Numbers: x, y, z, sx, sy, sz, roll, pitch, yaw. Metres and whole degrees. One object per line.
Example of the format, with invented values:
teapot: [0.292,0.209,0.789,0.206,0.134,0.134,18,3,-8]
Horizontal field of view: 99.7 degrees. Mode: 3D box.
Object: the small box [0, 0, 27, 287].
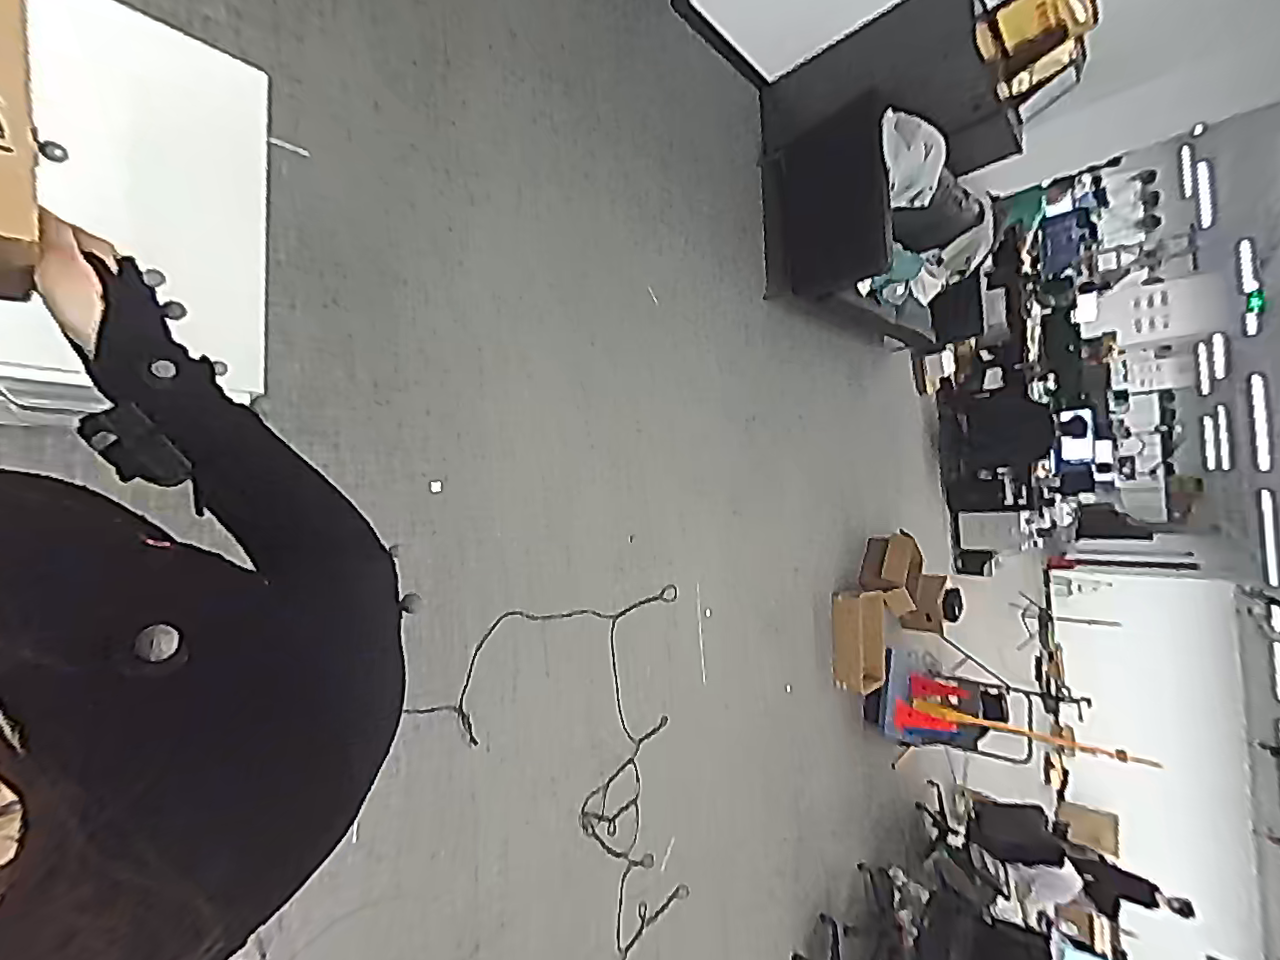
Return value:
small box: [-0.466,-0.216,0.291,0.179,0.176,0.168,-2,93,-49]
